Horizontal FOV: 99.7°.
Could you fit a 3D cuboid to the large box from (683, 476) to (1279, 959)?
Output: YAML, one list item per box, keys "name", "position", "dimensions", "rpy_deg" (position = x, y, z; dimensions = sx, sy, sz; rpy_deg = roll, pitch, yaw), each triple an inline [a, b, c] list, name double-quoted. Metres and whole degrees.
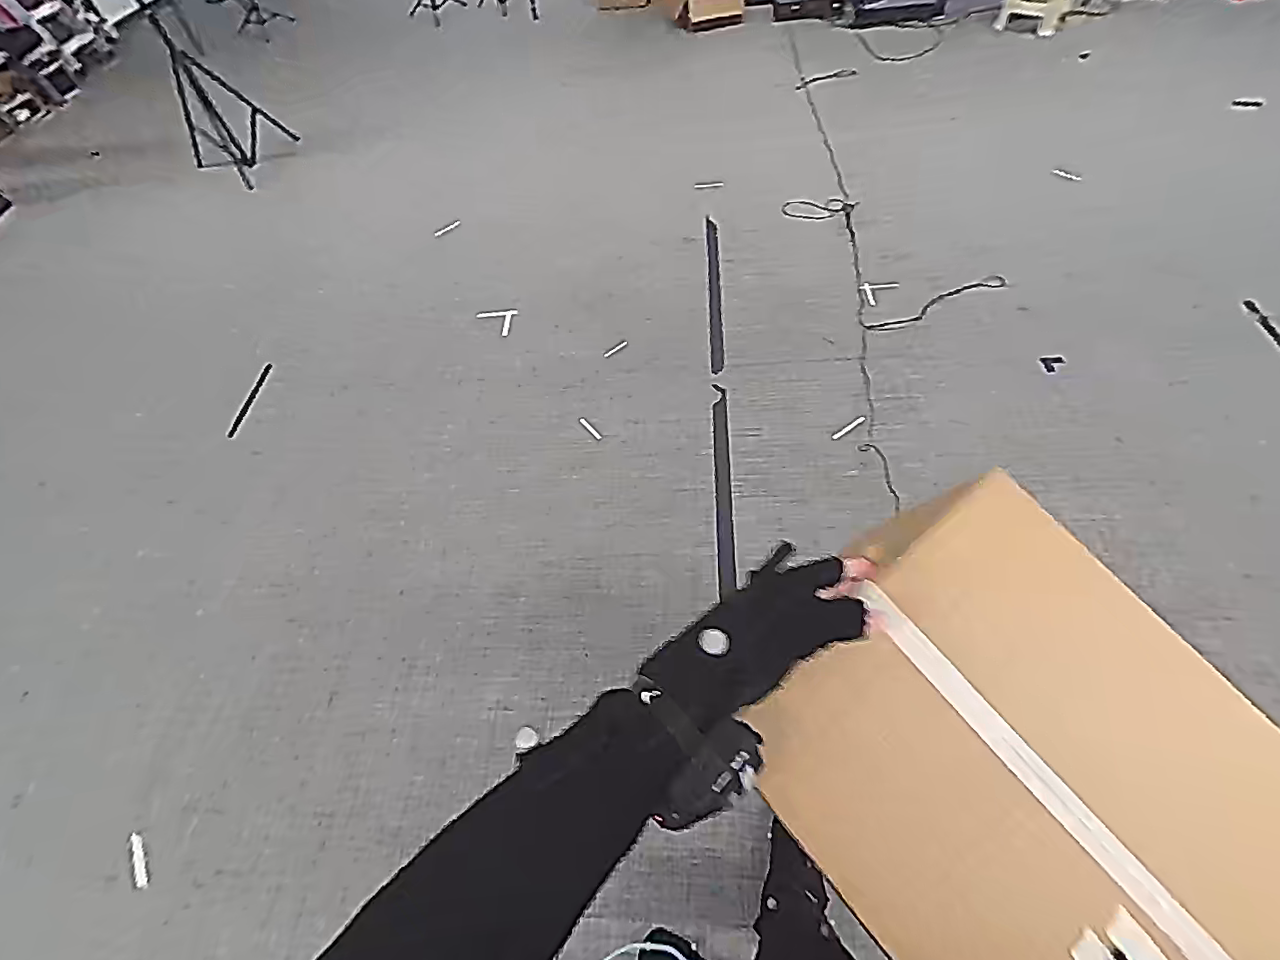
- name: "large box"
  position: [0.295, 0.270, 0.534]
  dimensions: [0.320, 0.320, 0.408]
  rpy_deg: [-40, 78, -10]
